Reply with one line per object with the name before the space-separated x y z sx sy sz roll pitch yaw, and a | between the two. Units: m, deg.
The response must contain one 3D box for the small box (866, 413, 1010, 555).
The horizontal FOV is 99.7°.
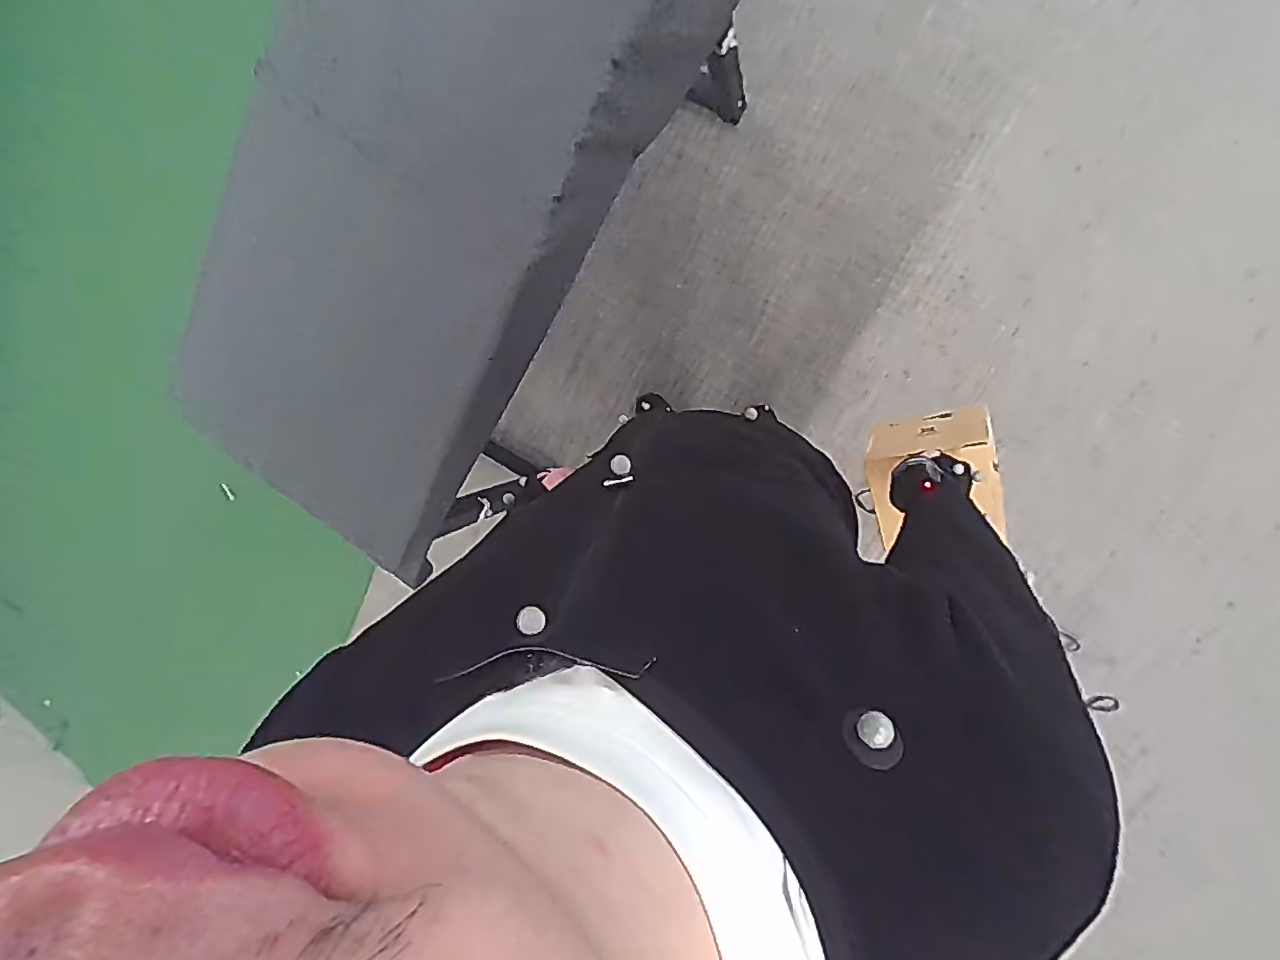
small box | 0.477 0.012 0.867 0.168 0.179 0.176 -11 106 32
